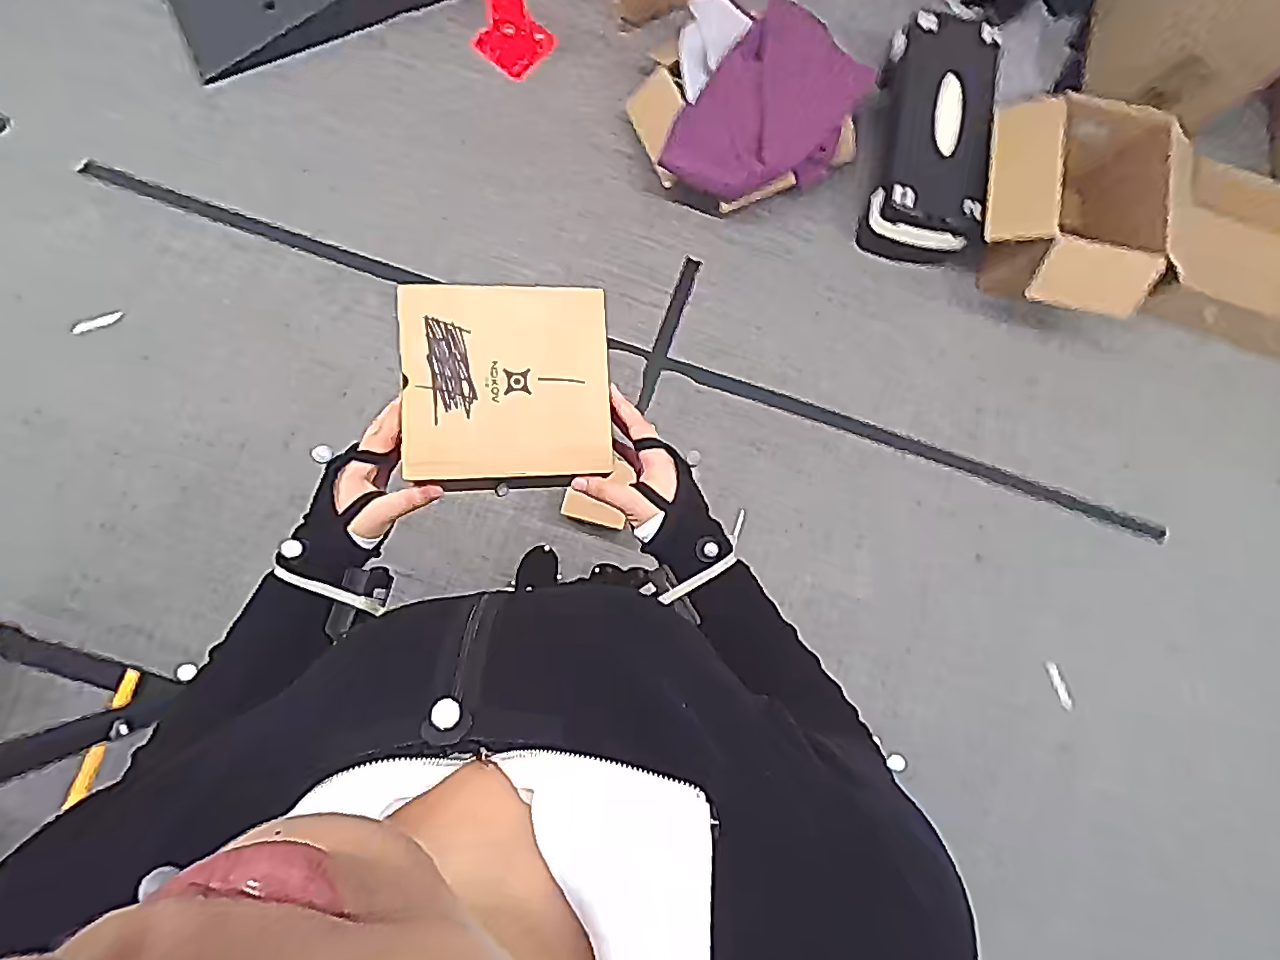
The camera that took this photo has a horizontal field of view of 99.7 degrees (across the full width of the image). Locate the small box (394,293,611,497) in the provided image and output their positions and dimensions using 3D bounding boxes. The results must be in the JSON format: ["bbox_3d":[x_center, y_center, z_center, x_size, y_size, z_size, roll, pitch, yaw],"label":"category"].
[{"bbox_3d":[-0.126,-0.072,0.535,0.179,0.176,0.168,-3,87,-9],"label":"small box"}]

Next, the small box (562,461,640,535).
[{"bbox_3d":[-0.103,0.044,1.445,0.168,0.176,0.179,15,83,-1],"label":"small box"}]
